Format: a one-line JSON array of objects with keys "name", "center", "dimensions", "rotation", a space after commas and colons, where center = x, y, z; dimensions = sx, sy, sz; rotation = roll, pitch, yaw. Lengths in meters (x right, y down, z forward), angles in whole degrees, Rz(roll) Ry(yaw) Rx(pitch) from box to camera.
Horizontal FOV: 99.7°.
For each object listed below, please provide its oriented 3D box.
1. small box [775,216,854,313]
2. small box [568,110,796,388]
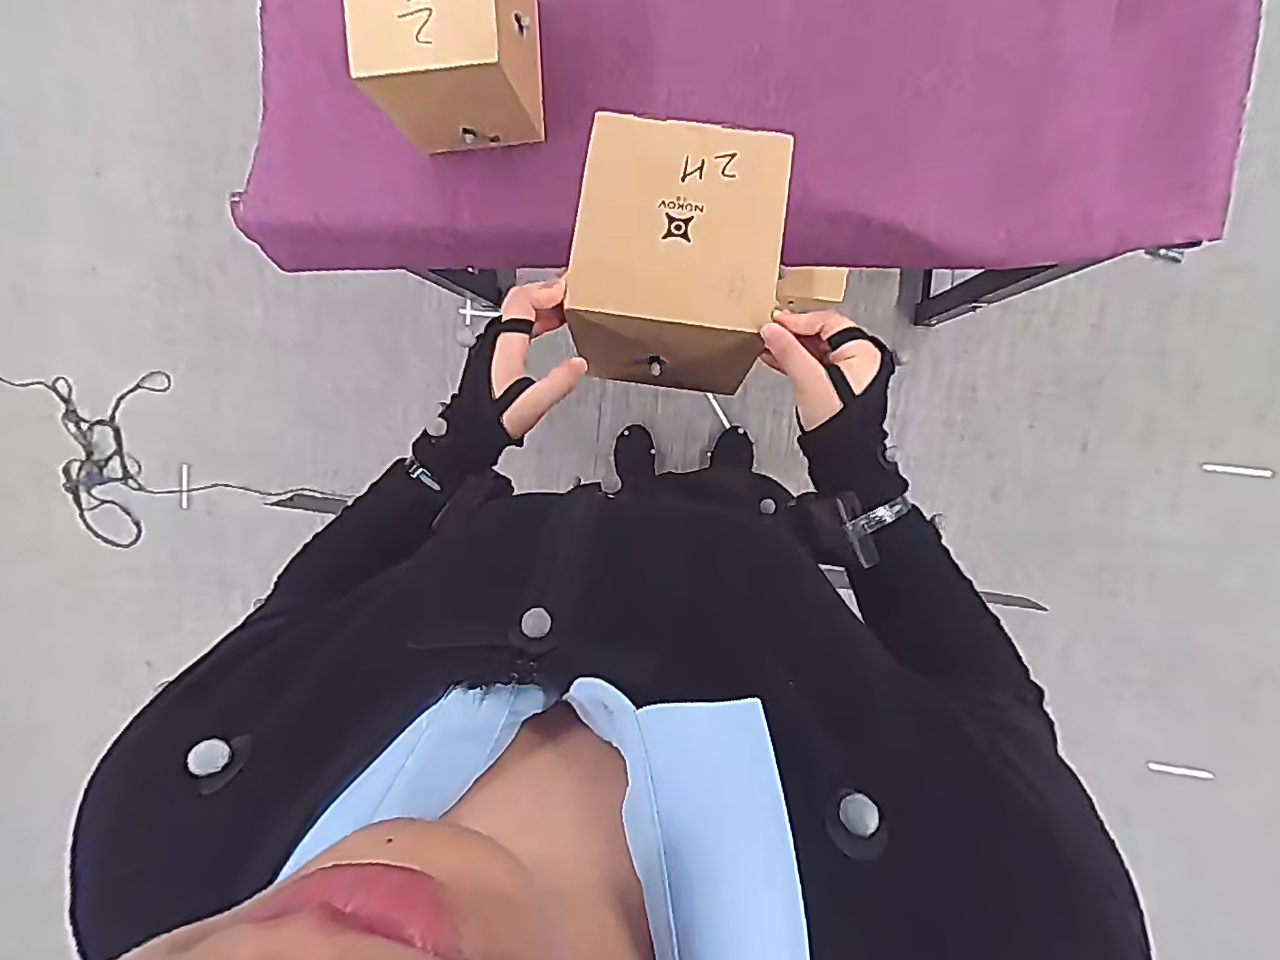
[{"name": "small box", "center": [0.400, -0.513, 1.311], "dimensions": [0.168, 0.176, 0.179], "rotation": [9, 97, 5]}, {"name": "small box", "center": [0.036, -0.198, 0.511], "dimensions": [0.168, 0.176, 0.179], "rotation": [8, 82, 1]}]
